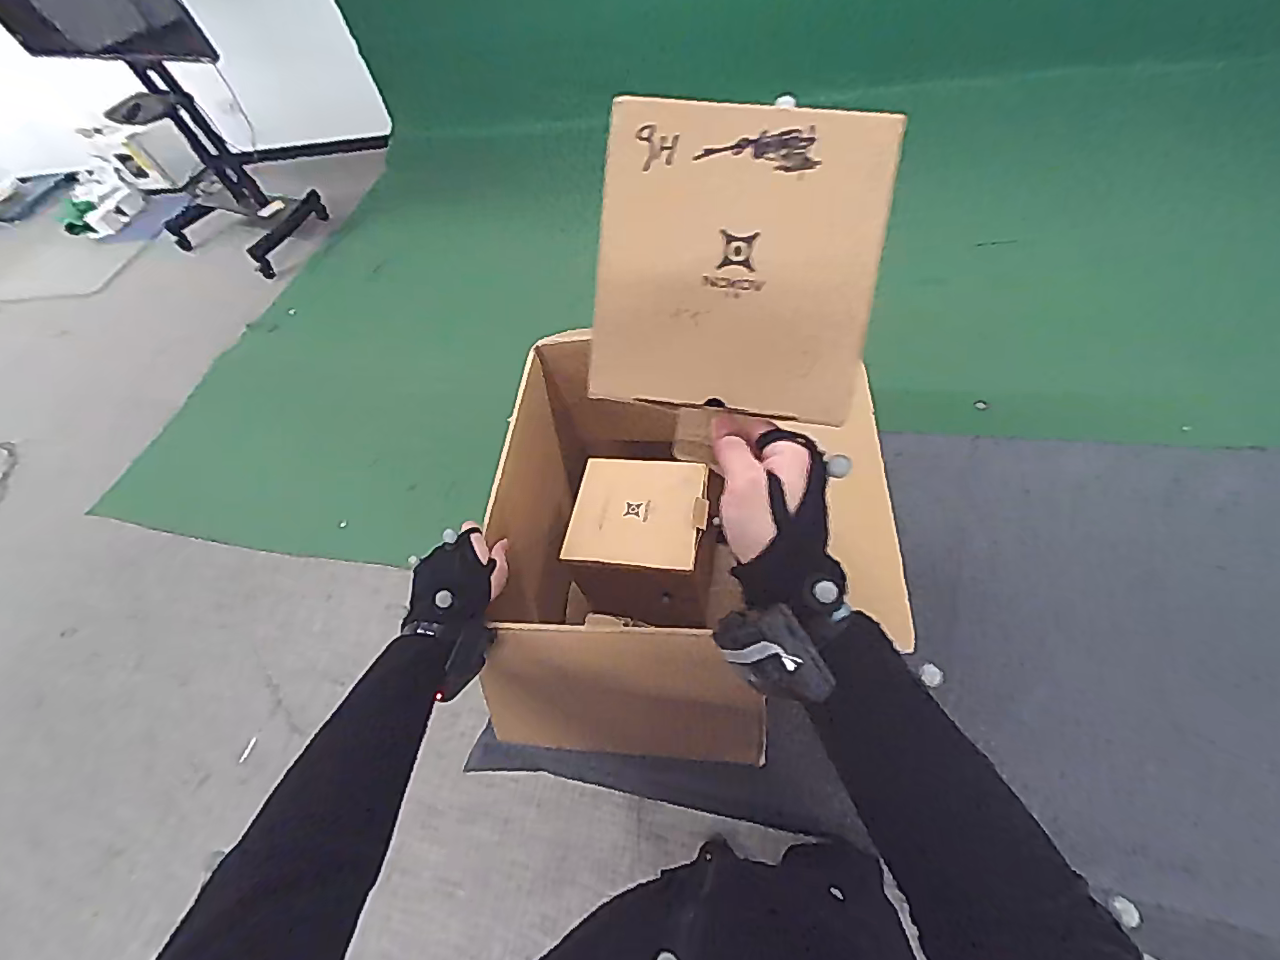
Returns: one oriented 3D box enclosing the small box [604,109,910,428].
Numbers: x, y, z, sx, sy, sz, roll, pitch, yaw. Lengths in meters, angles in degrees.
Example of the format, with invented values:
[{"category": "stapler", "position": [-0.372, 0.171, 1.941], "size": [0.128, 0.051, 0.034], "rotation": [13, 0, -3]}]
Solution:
[{"category": "small box", "position": [0.076, -0.145, 0.411], "size": [0.168, 0.179, 0.176], "rotation": [7, 13, 6]}]
